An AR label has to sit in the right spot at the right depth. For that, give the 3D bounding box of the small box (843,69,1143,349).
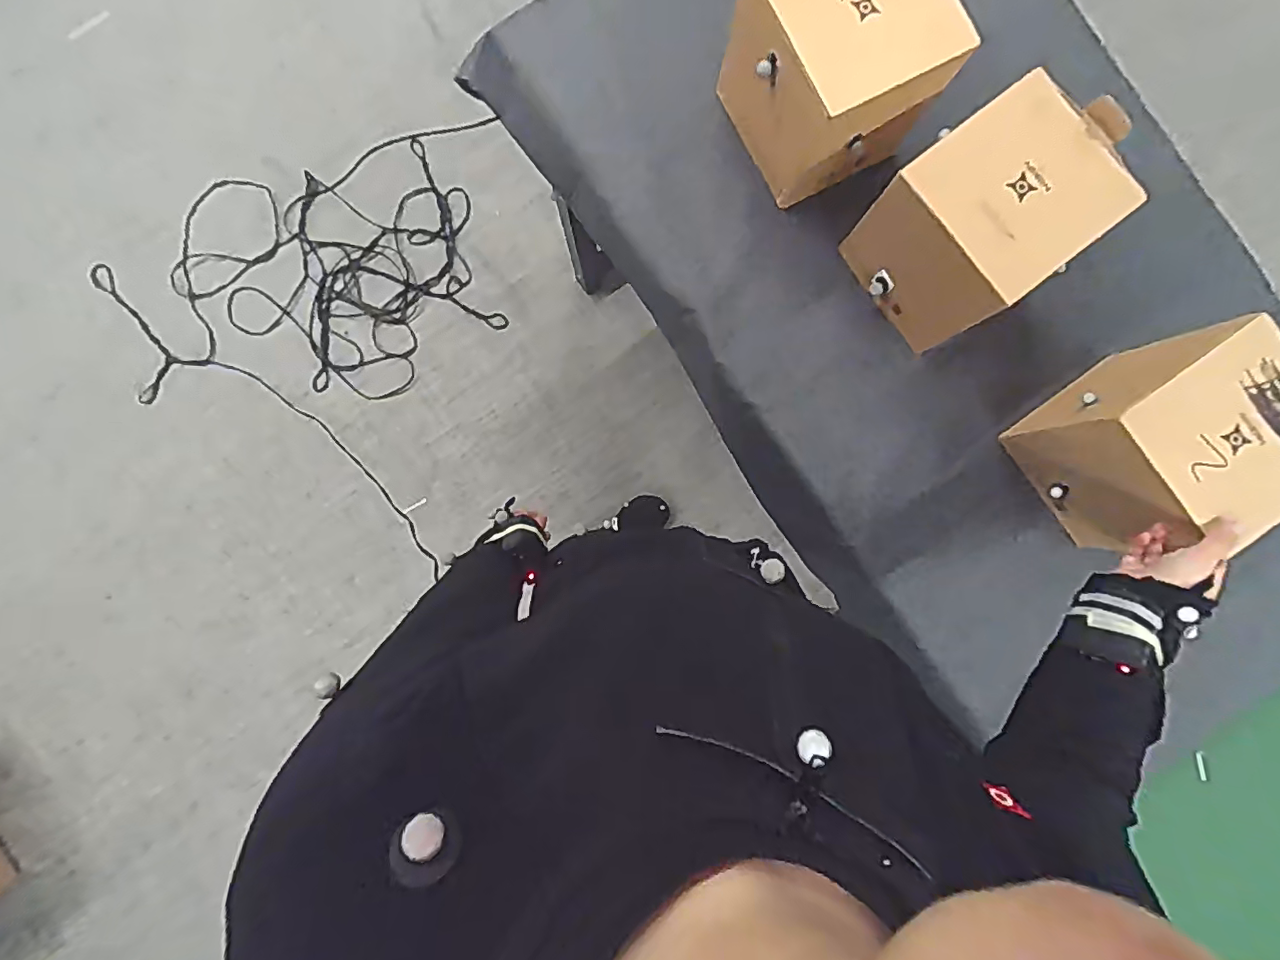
[{"bbox_3d":[0.359,-0.274,0.589,0.179,0.176,0.168,-39,87,-3],"label":"small box"}]

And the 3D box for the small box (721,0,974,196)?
[{"bbox_3d":[0.208,-0.448,0.593,0.168,0.176,0.179,-28,88,-3],"label":"small box"}]
